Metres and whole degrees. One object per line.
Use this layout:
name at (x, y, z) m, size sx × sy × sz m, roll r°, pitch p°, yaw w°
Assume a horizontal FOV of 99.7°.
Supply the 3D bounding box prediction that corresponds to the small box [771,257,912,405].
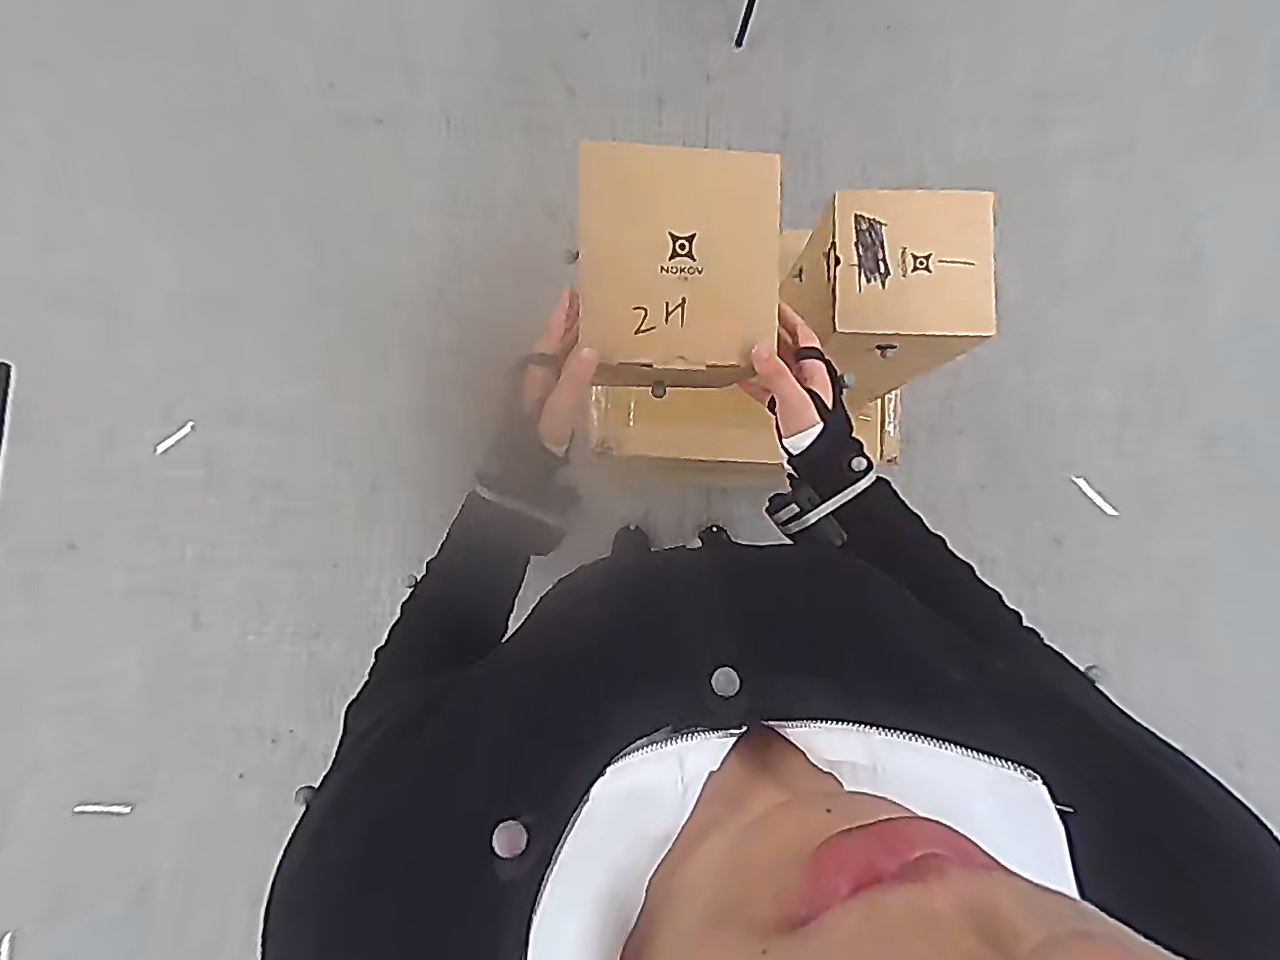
small box at (0.301, -0.222, 0.839) m, size 0.168 × 0.176 × 0.179 m, roll 2°, pitch 86°, yaw 3°

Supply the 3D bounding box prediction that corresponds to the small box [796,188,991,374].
small box at (0.299, -0.235, 0.674) m, size 0.179 × 0.176 × 0.168 m, roll 2°, pitch 85°, yaw 2°

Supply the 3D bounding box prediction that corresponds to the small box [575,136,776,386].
small box at (0.022, -0.190, 0.519) m, size 0.168 × 0.176 × 0.179 m, roll 0°, pitch 94°, yaw -6°
